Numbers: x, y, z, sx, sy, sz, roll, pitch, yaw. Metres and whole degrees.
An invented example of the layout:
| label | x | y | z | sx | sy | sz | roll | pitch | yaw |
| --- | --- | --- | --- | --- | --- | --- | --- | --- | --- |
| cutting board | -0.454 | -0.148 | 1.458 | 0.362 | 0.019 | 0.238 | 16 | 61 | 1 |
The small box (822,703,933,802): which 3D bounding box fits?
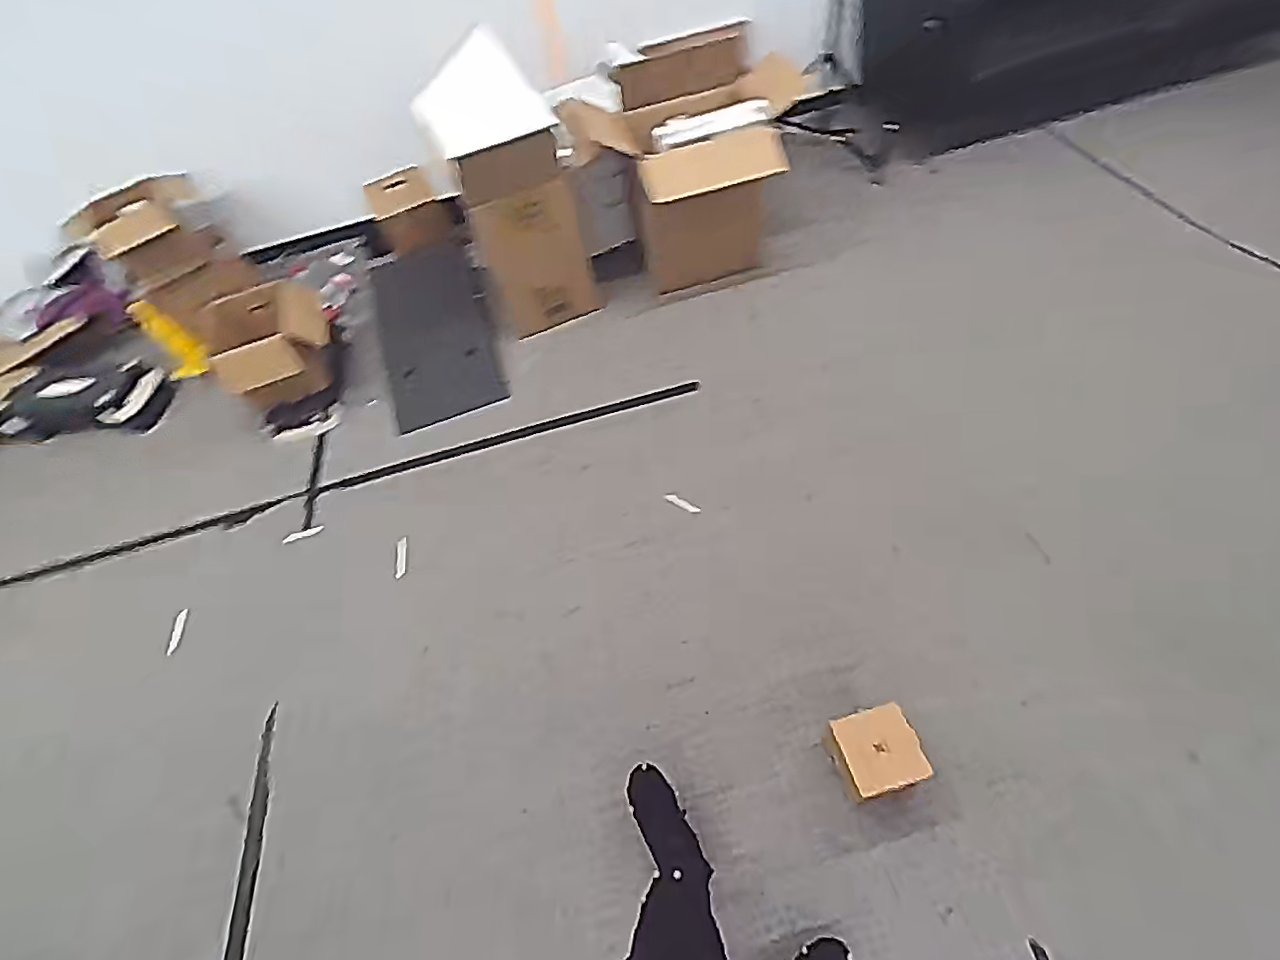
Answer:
| label | x | y | z | sx | sy | sz | roll | pitch | yaw |
| --- | --- | --- | --- | --- | --- | --- | --- | --- | --- |
| small box | 0.565 | 0.665 | 1.315 | 0.179 | 0.176 | 0.168 | -16 | 53 | -2 |
